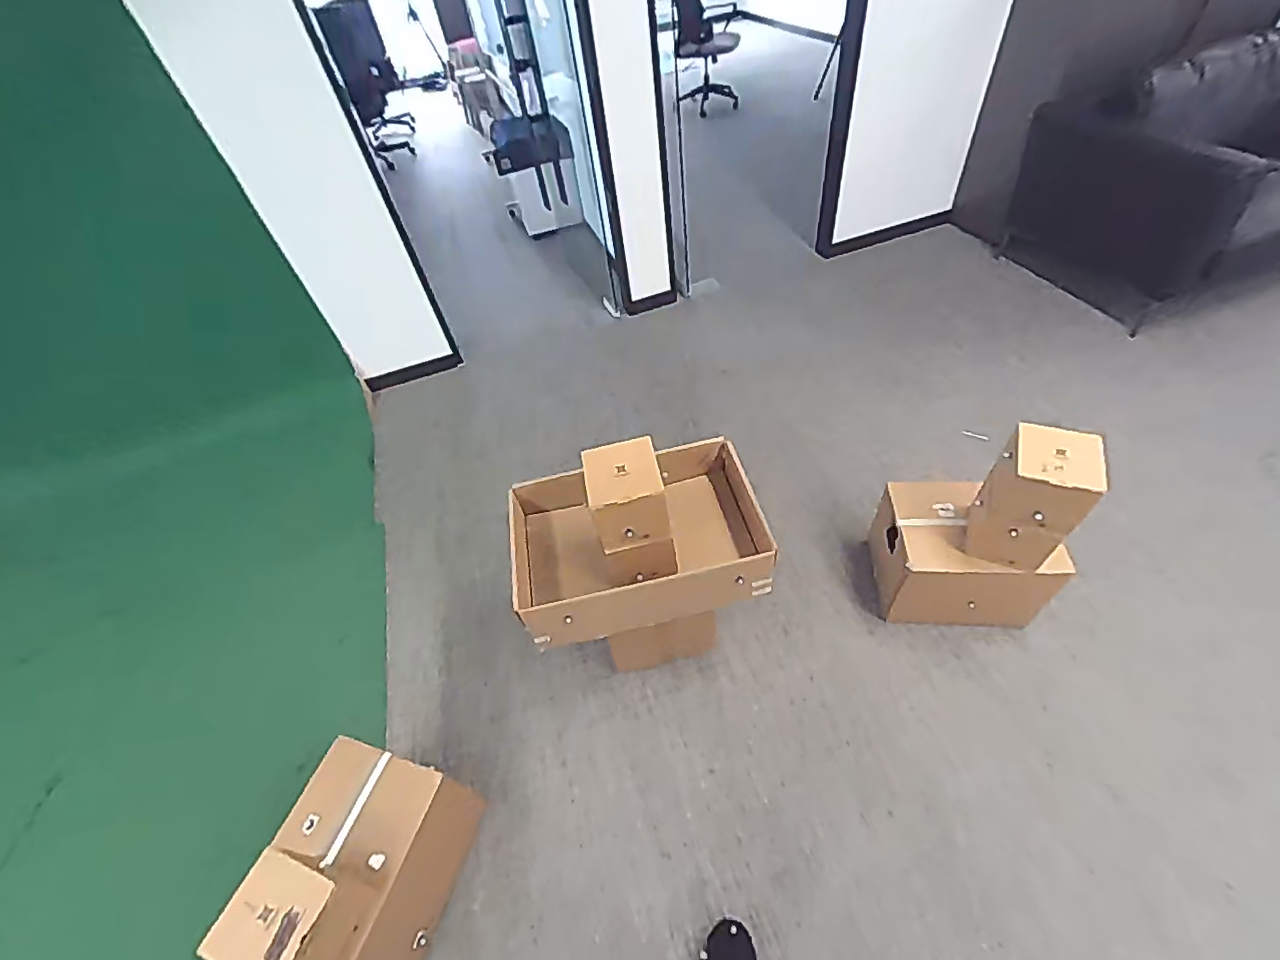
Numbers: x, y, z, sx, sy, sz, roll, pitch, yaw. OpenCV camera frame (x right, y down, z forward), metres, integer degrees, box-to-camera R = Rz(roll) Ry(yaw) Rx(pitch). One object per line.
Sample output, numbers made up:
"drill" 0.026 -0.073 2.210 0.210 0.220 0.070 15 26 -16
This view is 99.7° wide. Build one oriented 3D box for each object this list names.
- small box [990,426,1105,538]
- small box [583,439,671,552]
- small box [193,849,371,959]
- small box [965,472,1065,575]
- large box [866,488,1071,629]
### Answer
"small box" 0.942 0.005 1.264 0.168 0.176 0.179 15 54 21
"small box" -0.029 0.037 1.244 0.168 0.176 0.179 -13 49 -1
"small box" -0.640 0.816 0.994 0.179 0.176 0.168 12 50 18
"small box" 0.957 0.113 1.389 0.168 0.176 0.179 16 54 21
"large box" 0.936 0.238 1.611 0.408 0.320 0.320 -1 48 9
